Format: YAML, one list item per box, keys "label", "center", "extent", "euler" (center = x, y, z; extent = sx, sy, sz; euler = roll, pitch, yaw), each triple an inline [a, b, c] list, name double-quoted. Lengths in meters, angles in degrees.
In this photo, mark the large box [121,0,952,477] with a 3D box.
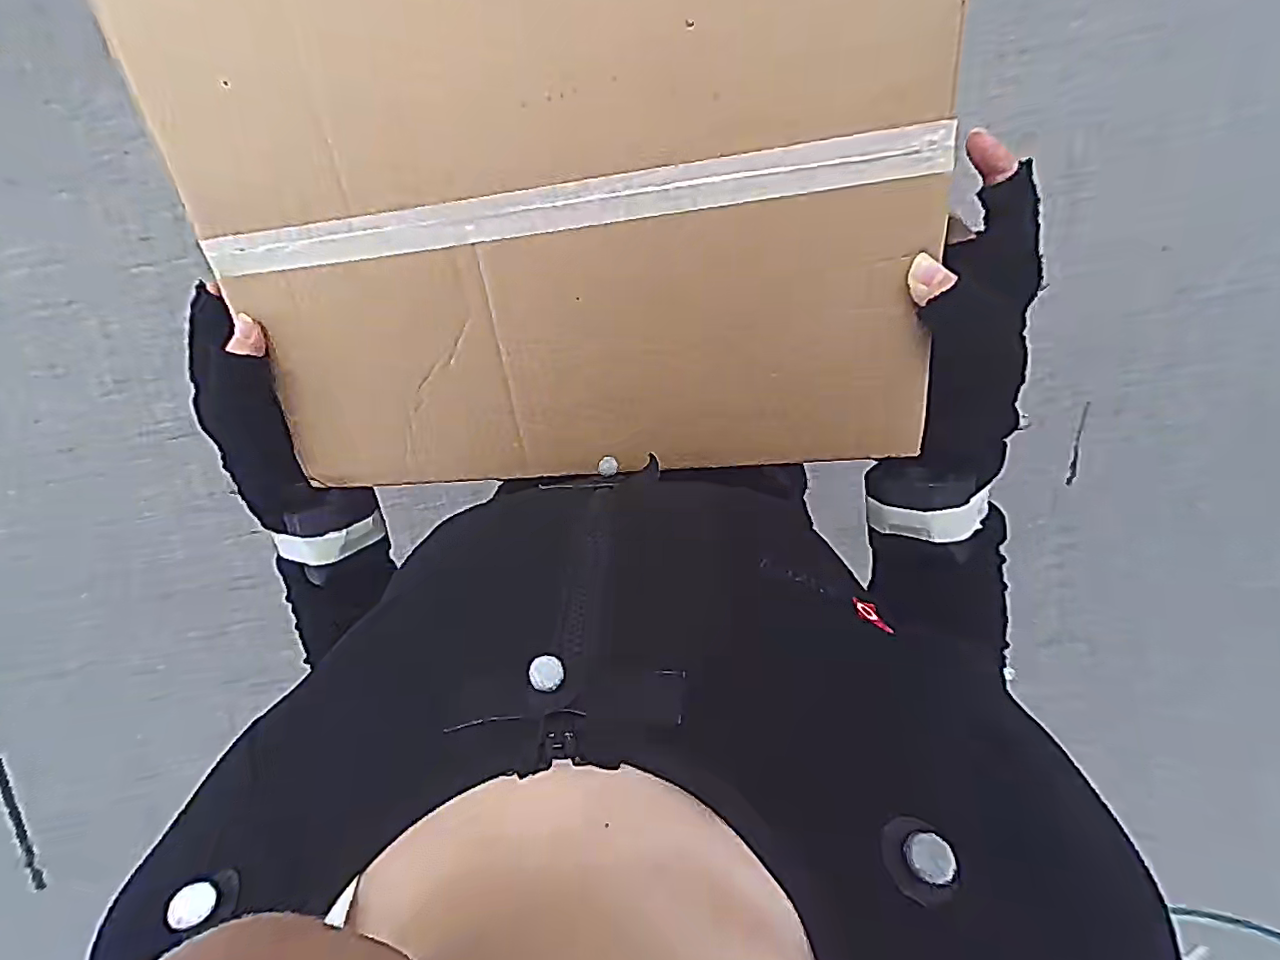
- label: "large box"
  center: [-0.031, -0.218, 0.422]
  extent: [0.408, 0.320, 0.320]
  euler: [-3, 116, 10]
